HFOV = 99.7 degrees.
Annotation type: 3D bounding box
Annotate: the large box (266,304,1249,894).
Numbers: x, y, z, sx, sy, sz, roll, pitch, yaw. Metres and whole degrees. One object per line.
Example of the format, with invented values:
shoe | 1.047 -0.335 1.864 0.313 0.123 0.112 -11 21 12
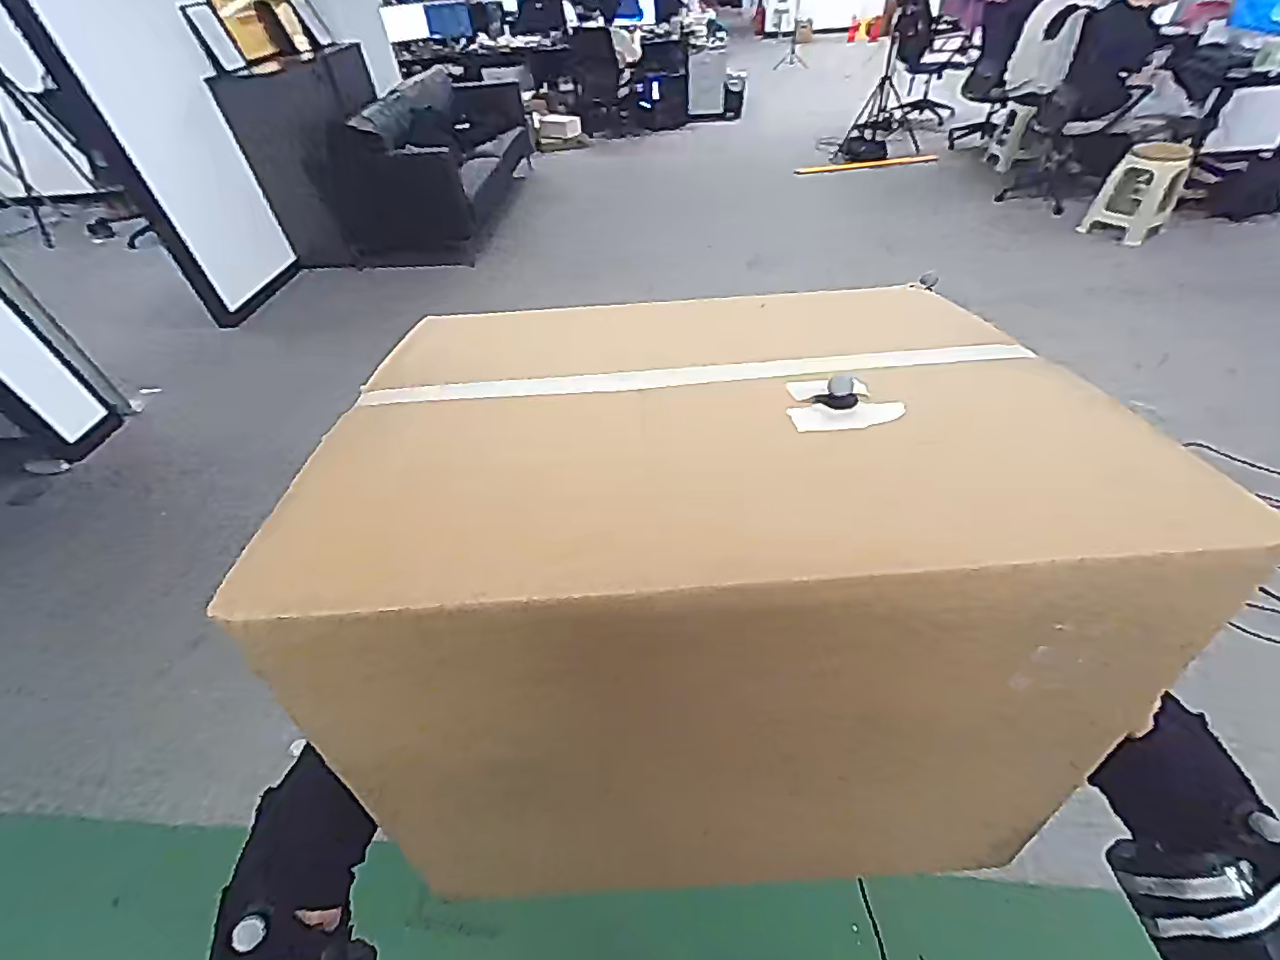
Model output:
large box | 0.047 0.072 0.419 0.408 0.320 0.320 -3 36 0
